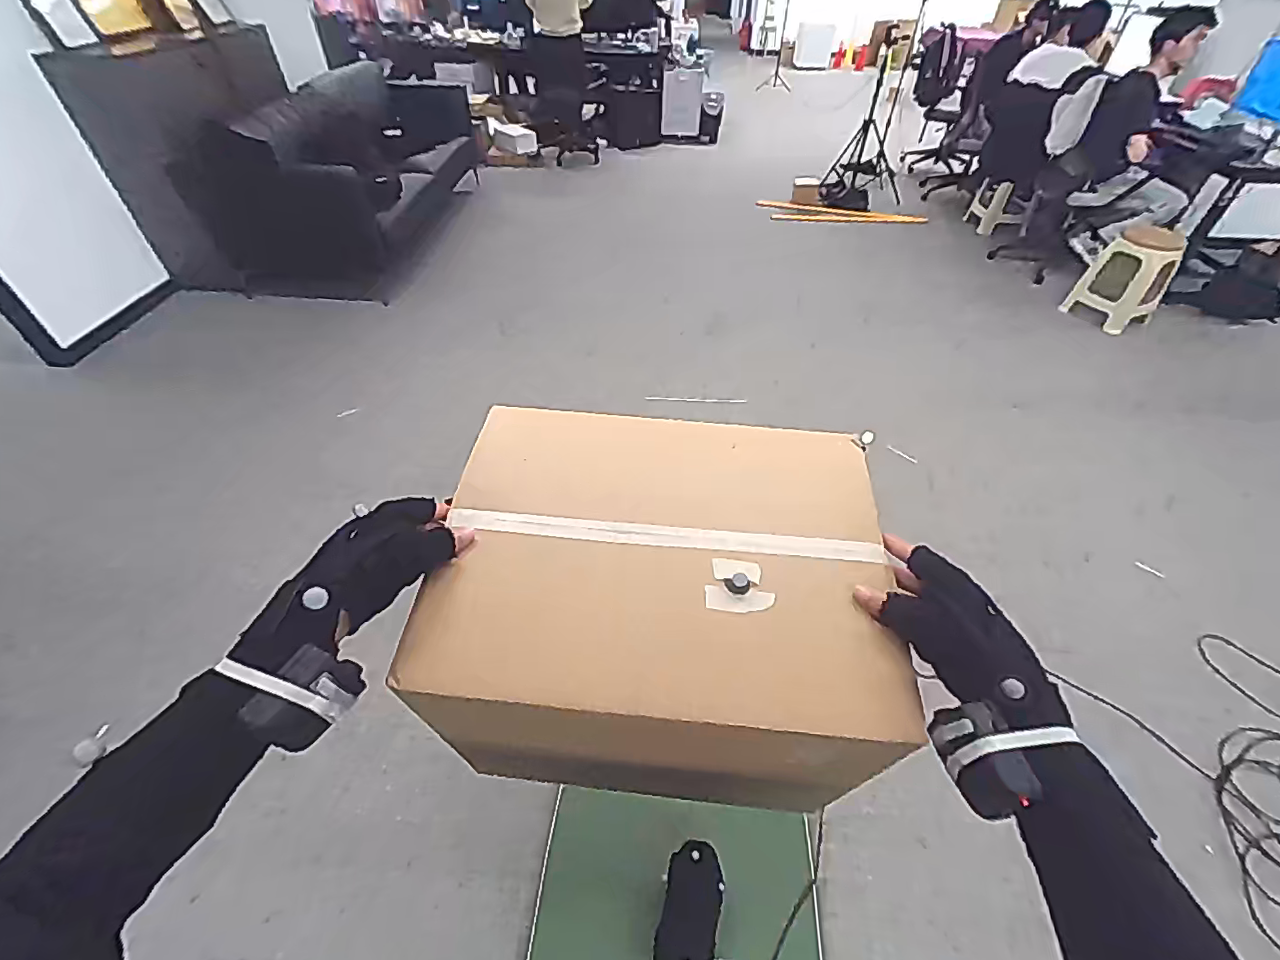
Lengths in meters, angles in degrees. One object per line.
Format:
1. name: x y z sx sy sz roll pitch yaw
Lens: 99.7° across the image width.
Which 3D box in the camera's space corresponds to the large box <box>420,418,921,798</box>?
1. large box: 0.027 0.154 0.629 0.408 0.320 0.320 5 51 2
